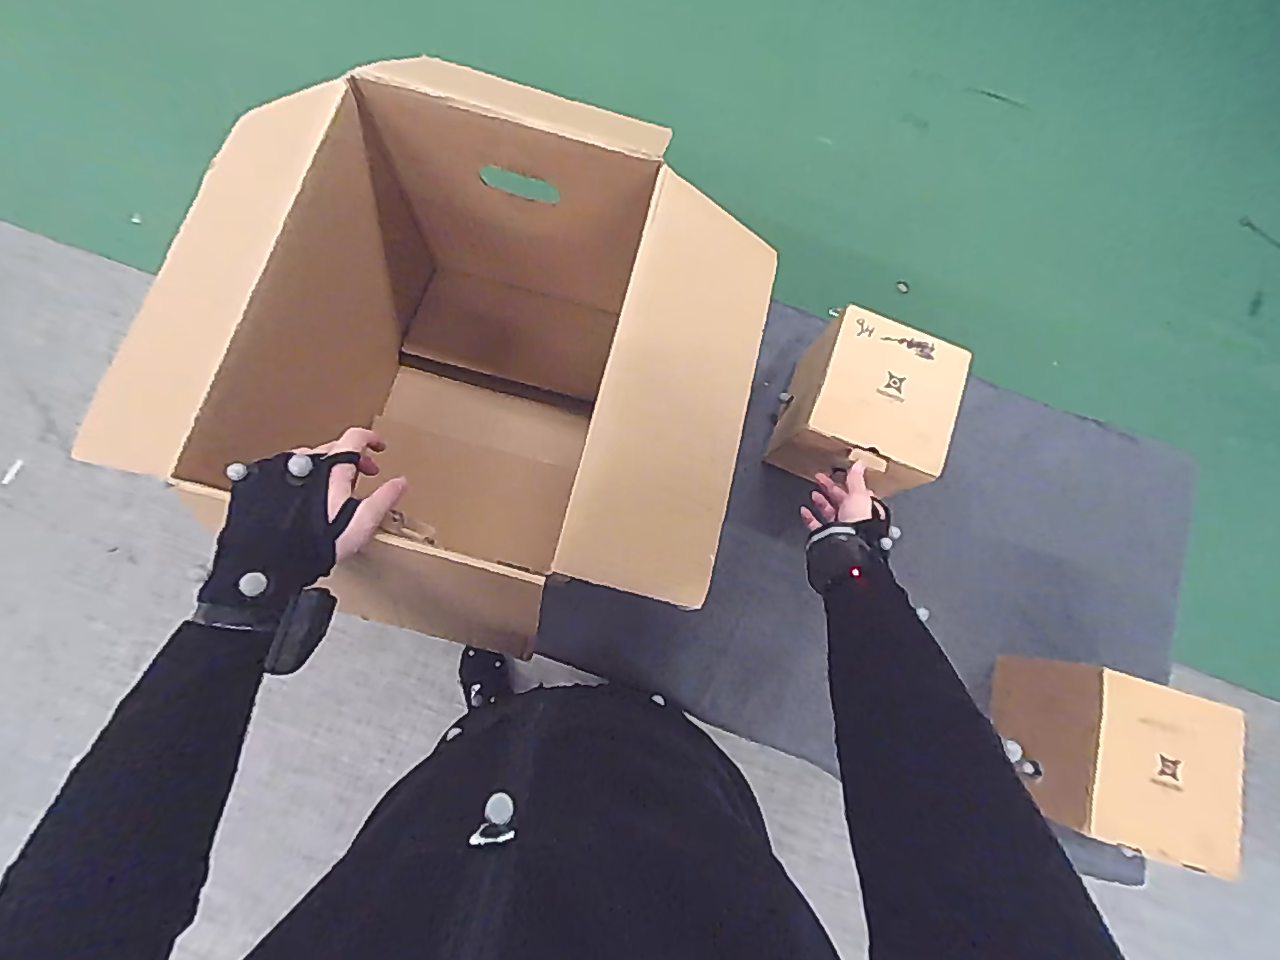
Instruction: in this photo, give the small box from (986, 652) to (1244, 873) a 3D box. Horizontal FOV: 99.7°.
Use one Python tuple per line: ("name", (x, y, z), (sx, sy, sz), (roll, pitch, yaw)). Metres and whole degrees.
("small box", (0.561, 0.323, 0.659), (0.168, 0.176, 0.179), (17, 76, 0))
